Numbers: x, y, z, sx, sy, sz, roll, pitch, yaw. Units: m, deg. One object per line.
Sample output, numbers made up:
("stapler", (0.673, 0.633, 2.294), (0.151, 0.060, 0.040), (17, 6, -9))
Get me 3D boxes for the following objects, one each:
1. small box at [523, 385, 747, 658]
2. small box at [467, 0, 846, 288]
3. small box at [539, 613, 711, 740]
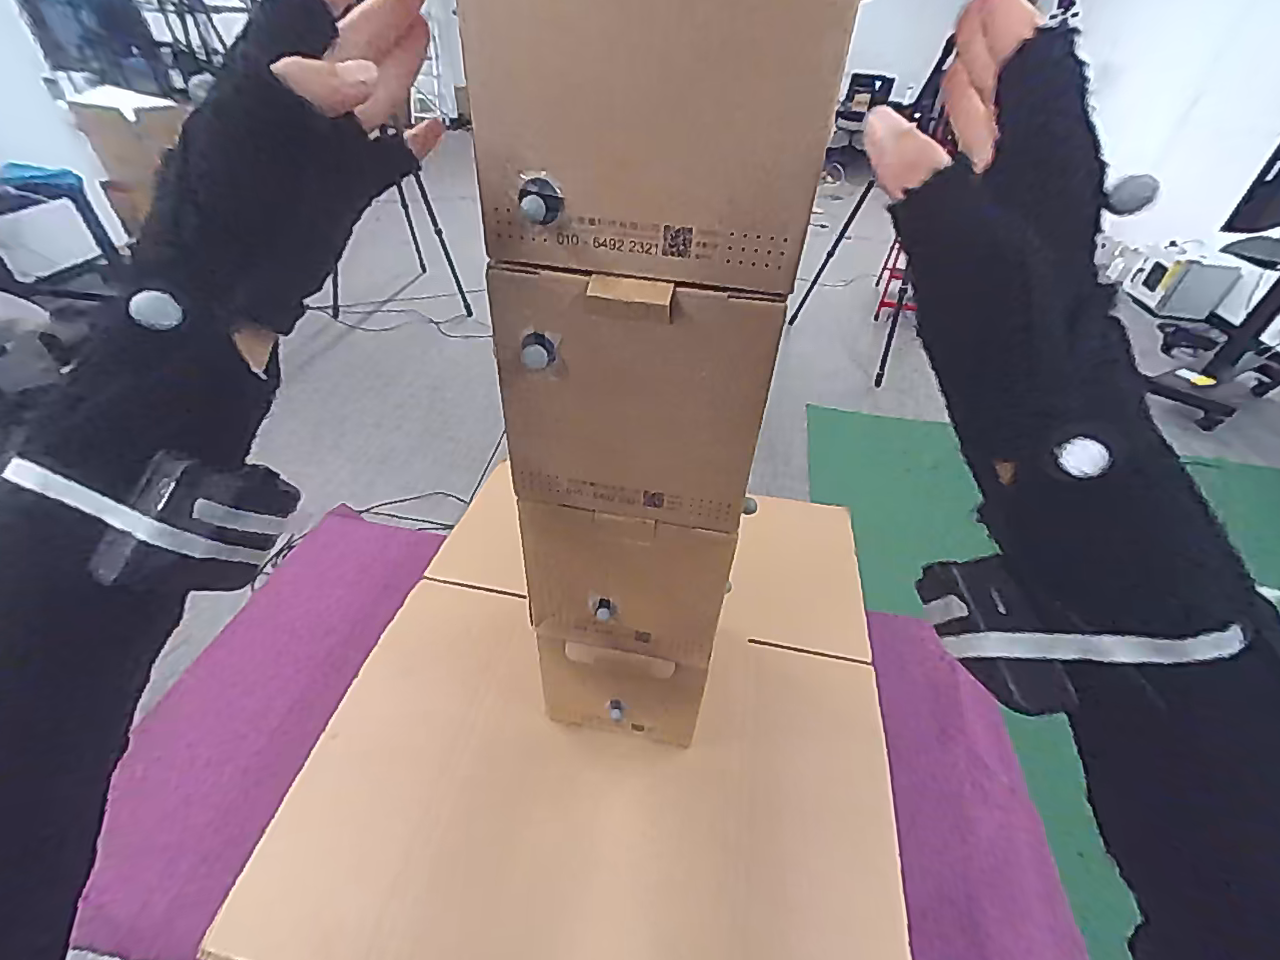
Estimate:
("small box", (0.000, 0.035, 0.512), (0.168, 0.176, 0.179), (10, 40, 7))
("small box", (0.018, -0.222, 0.306), (0.168, 0.176, 0.179), (10, 38, 7))
("small box", (-0.006, 0.160, 0.617), (0.168, 0.176, 0.179), (9, 40, 7))
